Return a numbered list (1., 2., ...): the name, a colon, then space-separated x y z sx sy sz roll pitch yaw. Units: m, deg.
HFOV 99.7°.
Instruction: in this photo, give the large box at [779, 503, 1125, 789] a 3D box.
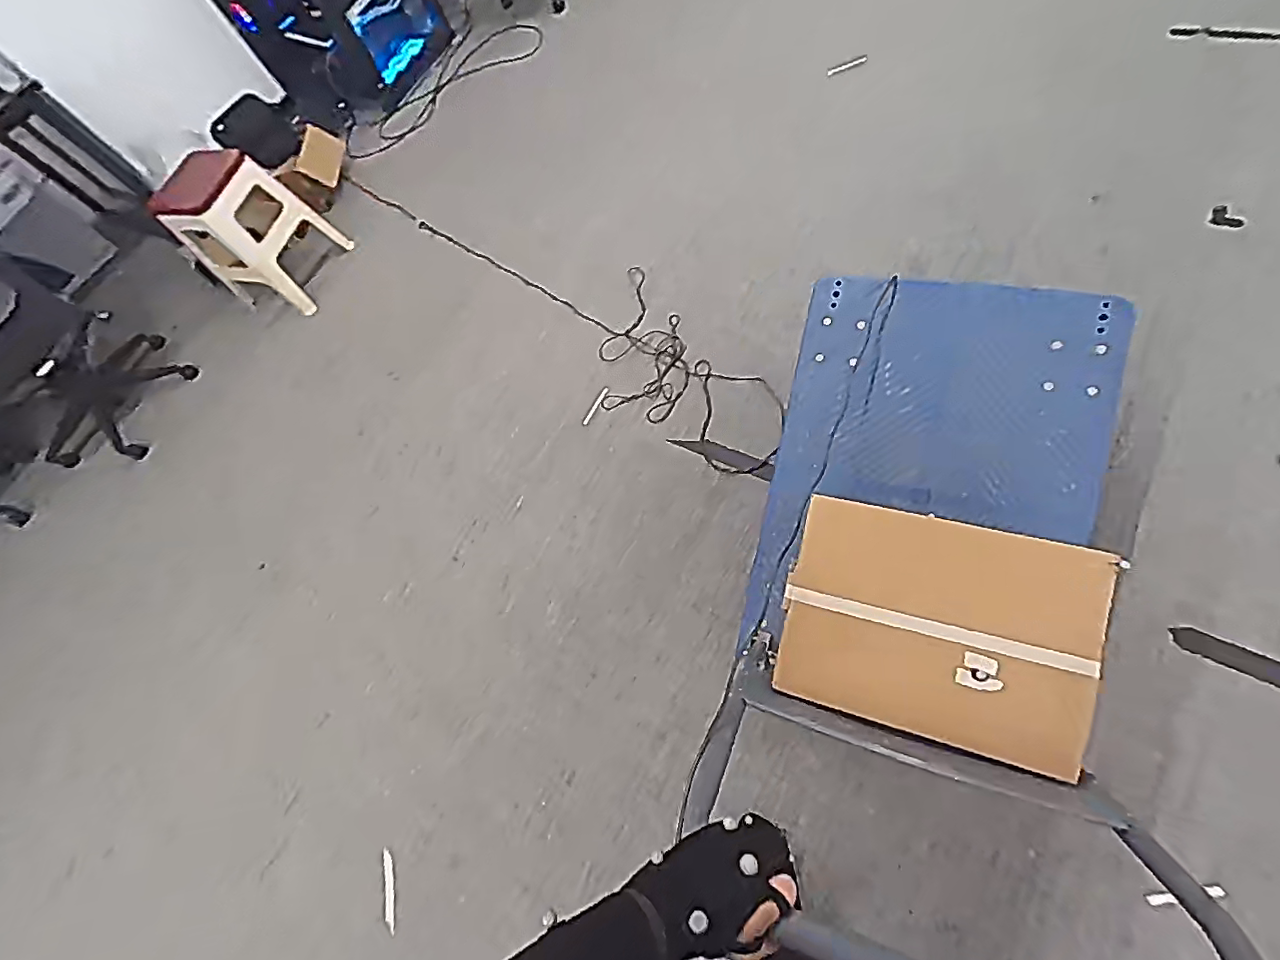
1. large box: 0.465 0.233 0.905 0.408 0.320 0.320 12 89 18
